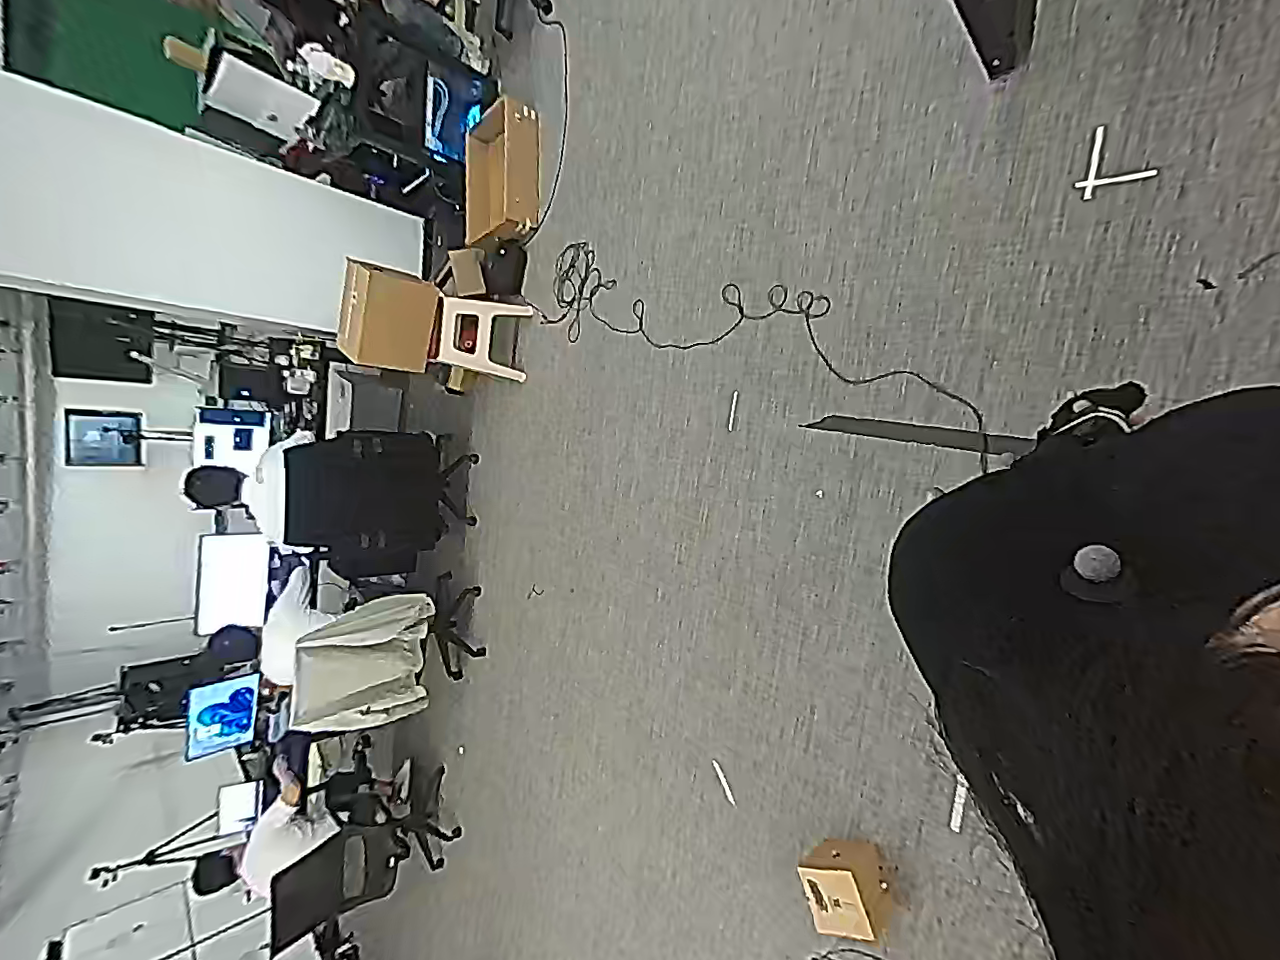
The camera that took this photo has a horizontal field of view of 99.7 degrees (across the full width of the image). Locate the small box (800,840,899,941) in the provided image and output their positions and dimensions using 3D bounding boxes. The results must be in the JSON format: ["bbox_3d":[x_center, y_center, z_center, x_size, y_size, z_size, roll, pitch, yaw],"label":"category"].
[{"bbox_3d":[0.587,1.139,1.516,0.179,0.176,0.168,-31,69,40],"label":"small box"}]
